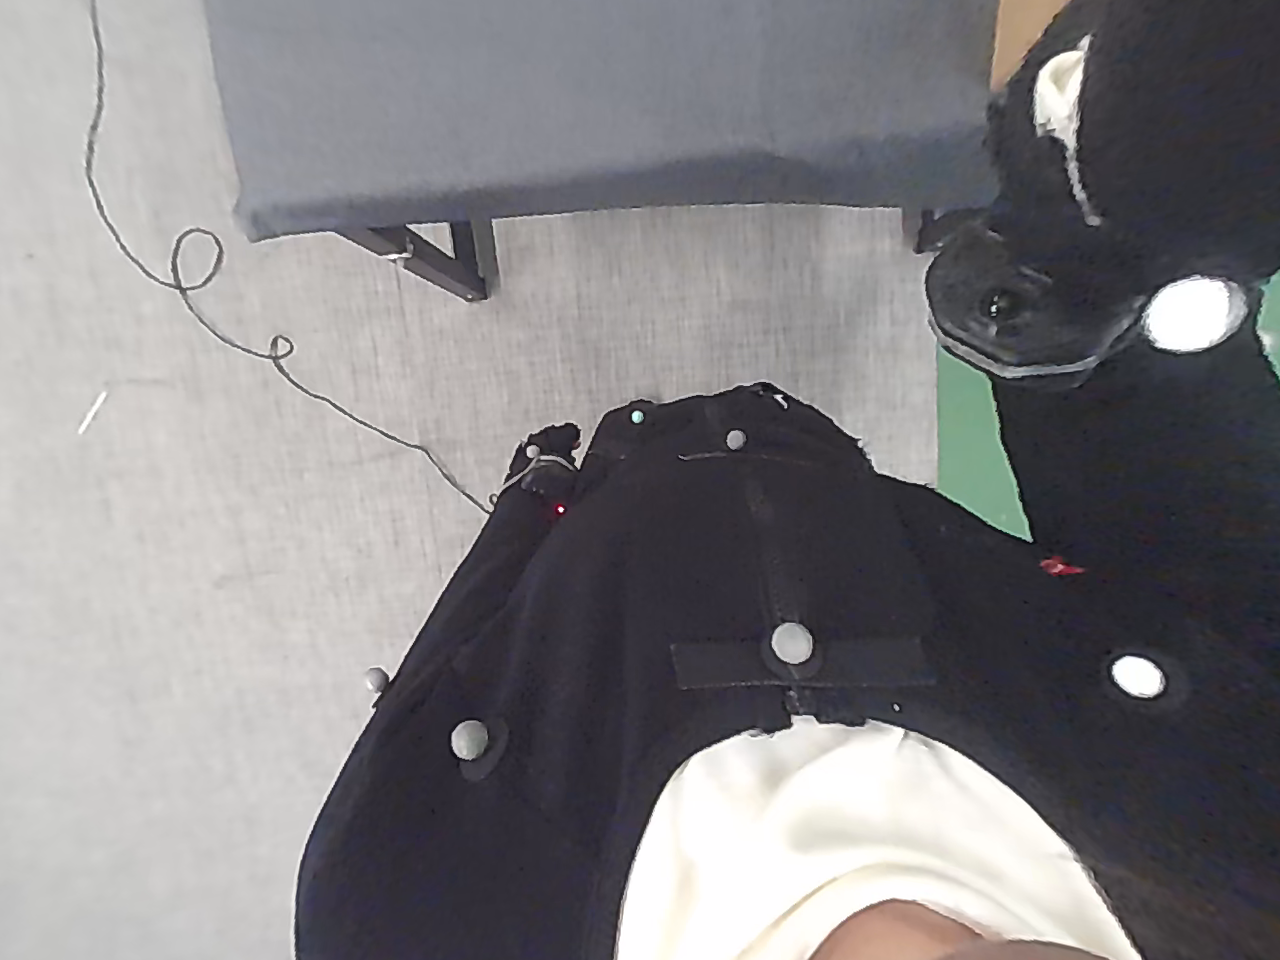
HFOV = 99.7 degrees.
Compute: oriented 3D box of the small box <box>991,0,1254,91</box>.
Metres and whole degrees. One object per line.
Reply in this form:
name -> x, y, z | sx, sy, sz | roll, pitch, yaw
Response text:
small box -> 0.481, -0.519, 0.530 | 0.168, 0.176, 0.179 | 3, 97, 2
